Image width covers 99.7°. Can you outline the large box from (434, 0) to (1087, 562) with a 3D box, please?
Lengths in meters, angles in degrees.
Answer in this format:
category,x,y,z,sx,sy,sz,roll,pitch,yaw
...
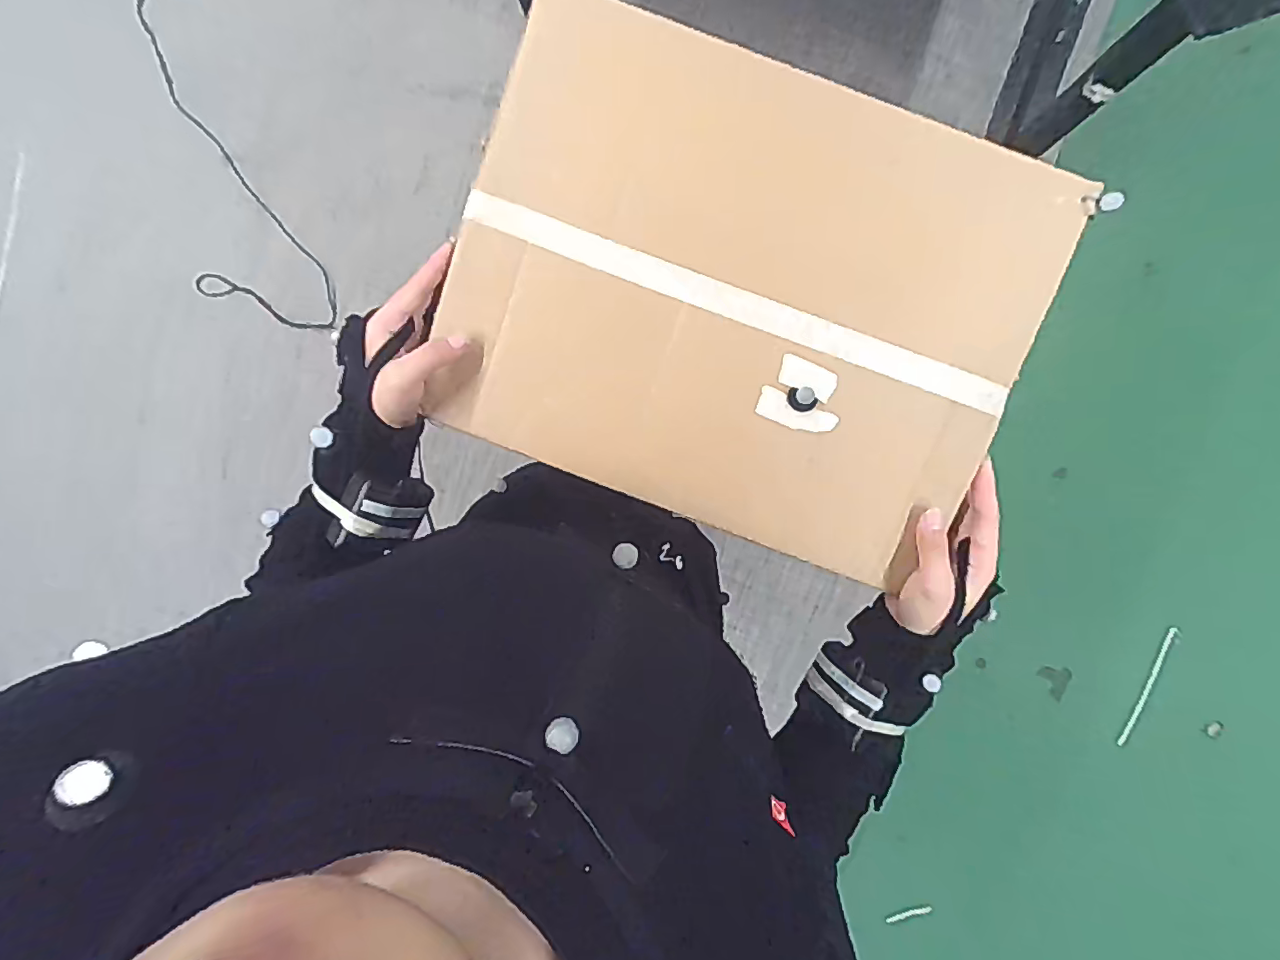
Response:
category,x,y,z,sx,sy,sz,roll,pitch,yaw
large box,0.080,-0.160,0.540,0.408,0.320,0.320,20,98,-1
